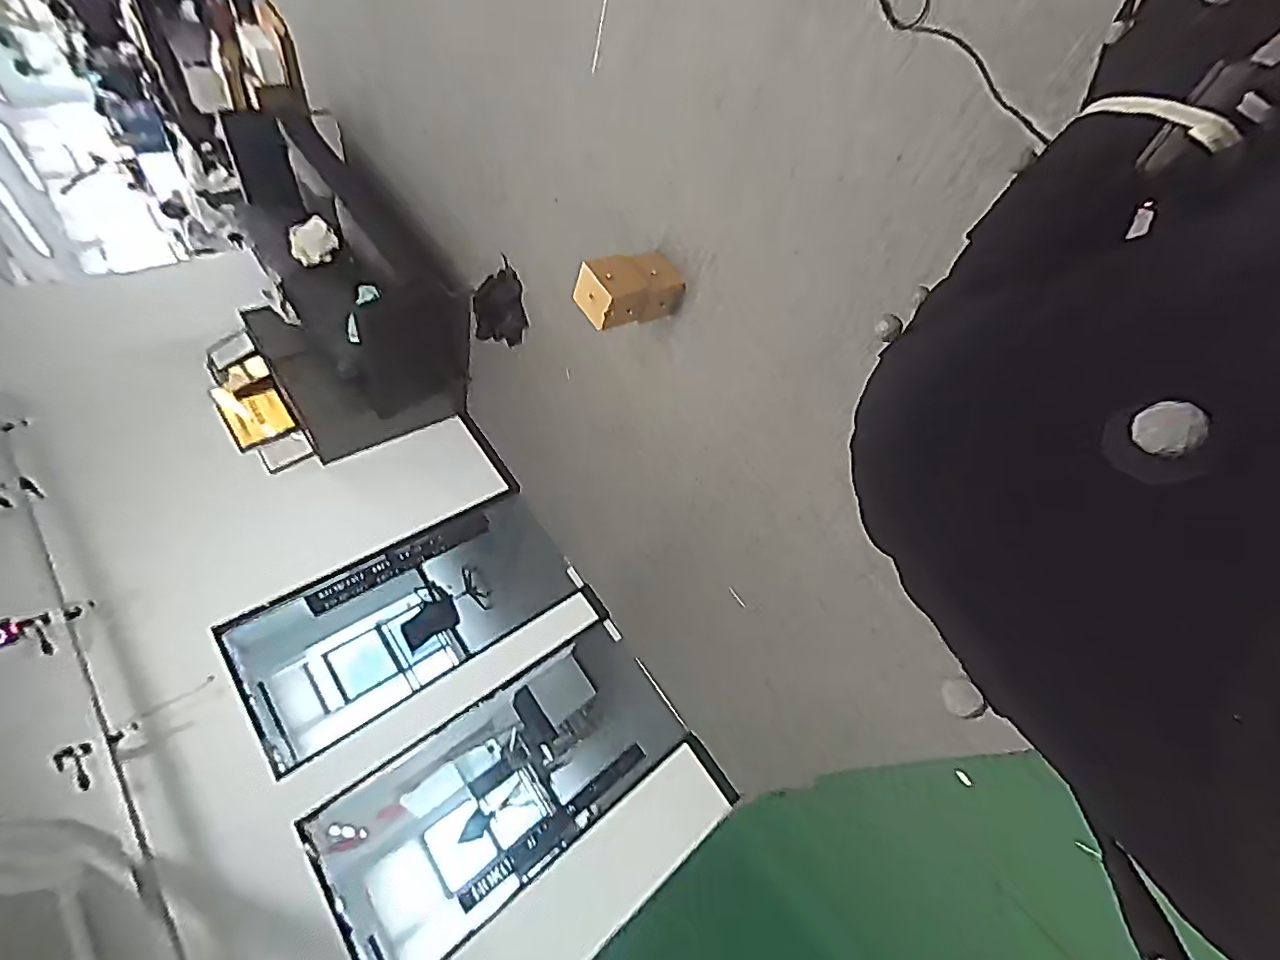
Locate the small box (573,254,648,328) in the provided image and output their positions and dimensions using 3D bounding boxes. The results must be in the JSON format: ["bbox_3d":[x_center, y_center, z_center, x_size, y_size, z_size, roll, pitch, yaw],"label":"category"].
[{"bbox_3d":[-0.103,-0.661,1.875,0.179,0.176,0.168,53,148,13],"label":"small box"}]

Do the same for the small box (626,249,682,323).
[{"bbox_3d":[0.025,-0.711,1.965,0.179,0.176,0.168,53,148,13],"label":"small box"}]
